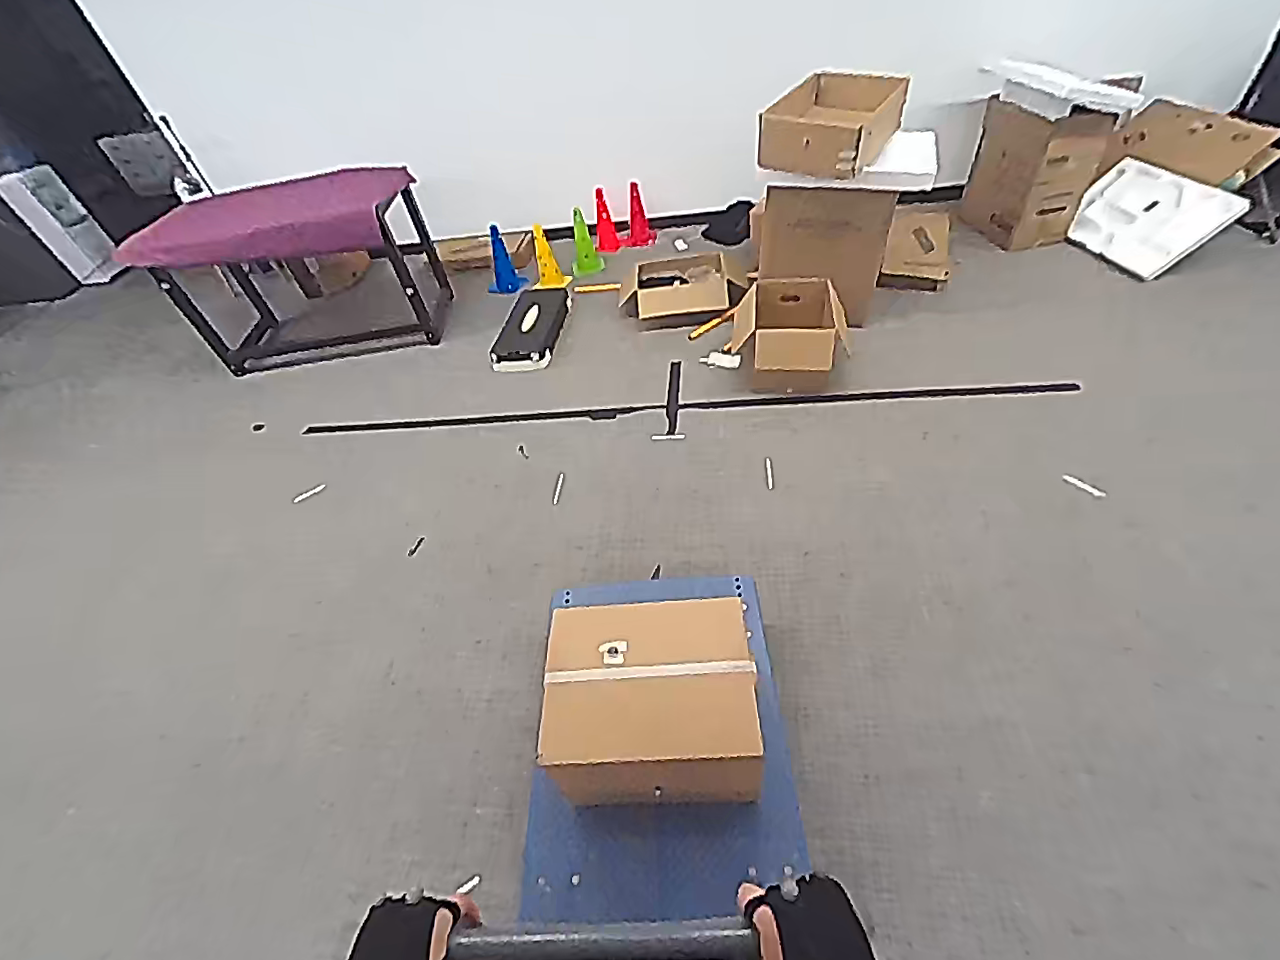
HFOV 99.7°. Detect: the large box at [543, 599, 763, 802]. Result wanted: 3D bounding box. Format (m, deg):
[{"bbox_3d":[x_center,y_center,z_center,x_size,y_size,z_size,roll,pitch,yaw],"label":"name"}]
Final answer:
[{"bbox_3d":[0.038,0.486,1.176,0.408,0.320,0.320,-6,46,6],"label":"large box"}]
